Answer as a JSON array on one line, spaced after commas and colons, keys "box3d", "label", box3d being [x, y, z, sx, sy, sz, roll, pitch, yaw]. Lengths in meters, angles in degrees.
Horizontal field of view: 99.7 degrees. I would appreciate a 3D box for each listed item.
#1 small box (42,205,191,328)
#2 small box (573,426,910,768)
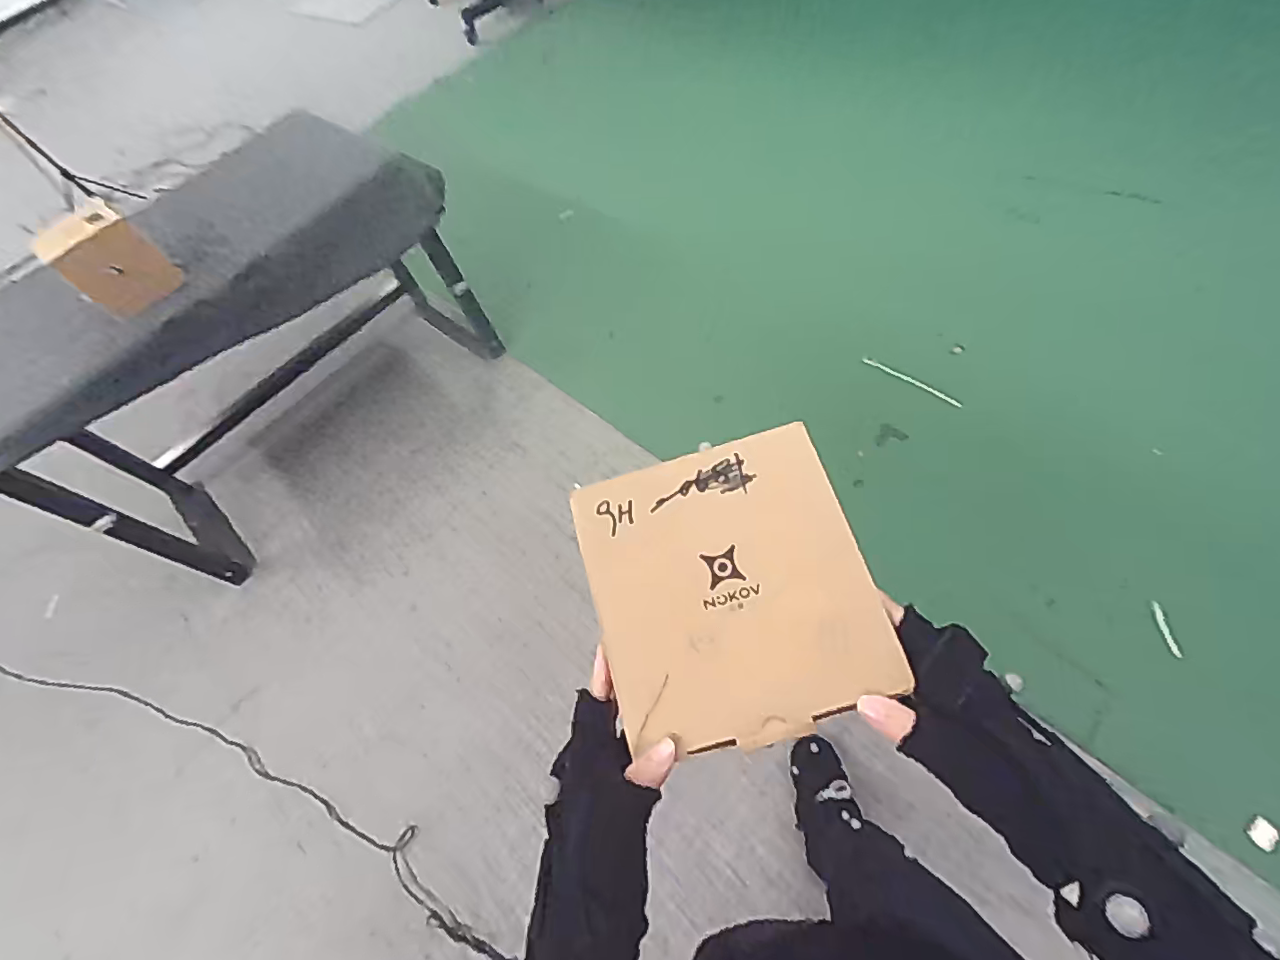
[{"box3d": [-1.185, -0.487, 1.242, 0.168, 0.176, 0.179, 35, 73, 28], "label": "small box"}, {"box3d": [0.065, 0.089, 0.408, 0.168, 0.176, 0.179, -17, 70, 1], "label": "small box"}]
